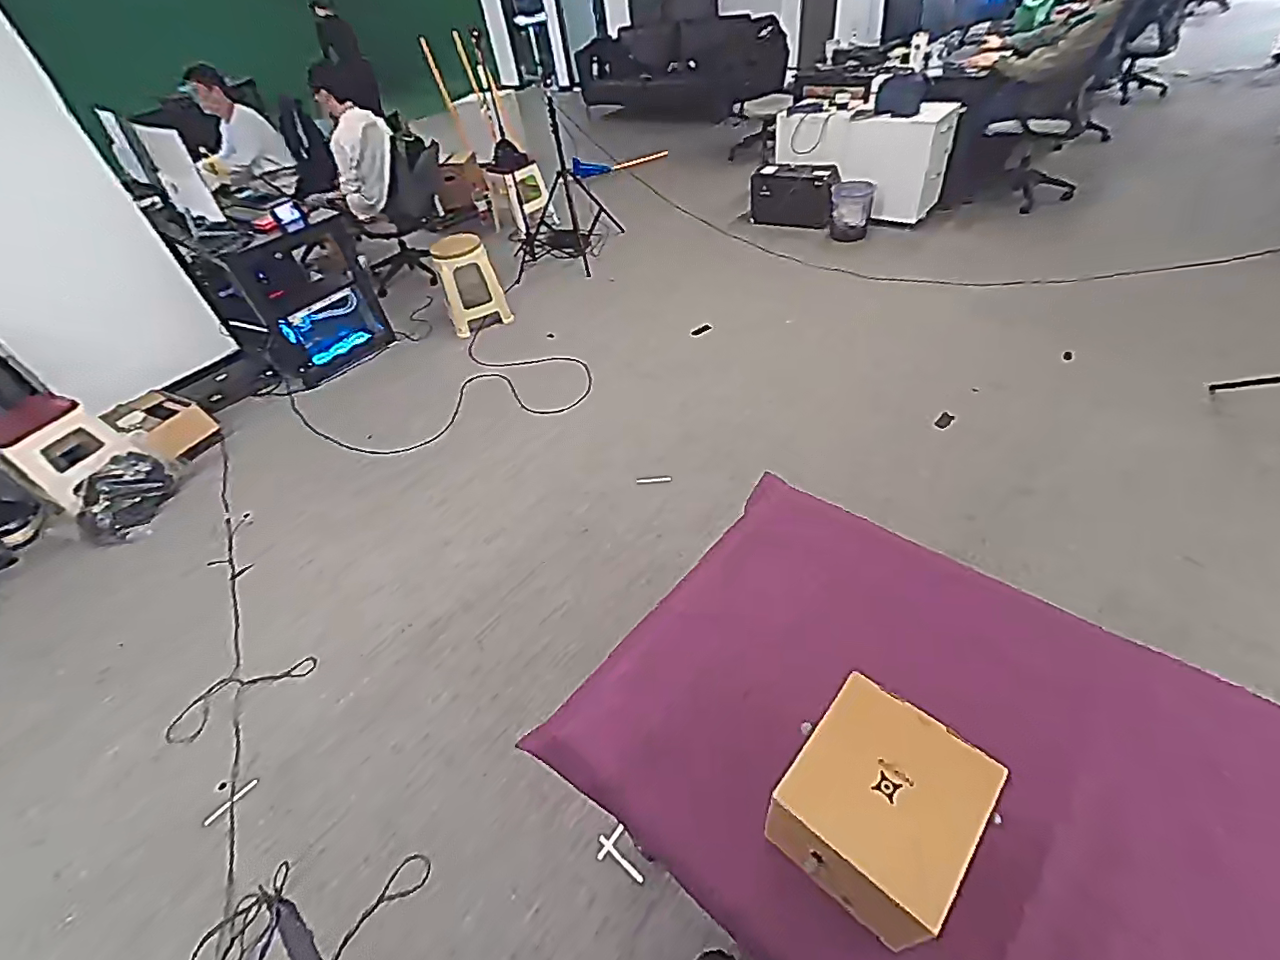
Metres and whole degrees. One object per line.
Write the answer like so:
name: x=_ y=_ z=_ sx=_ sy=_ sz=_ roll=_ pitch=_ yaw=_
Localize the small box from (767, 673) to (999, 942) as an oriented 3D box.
small box: x=0.258 y=0.364 z=0.605 sx=0.168 sy=0.176 sz=0.179 roll=30 pitch=55 yaw=33
